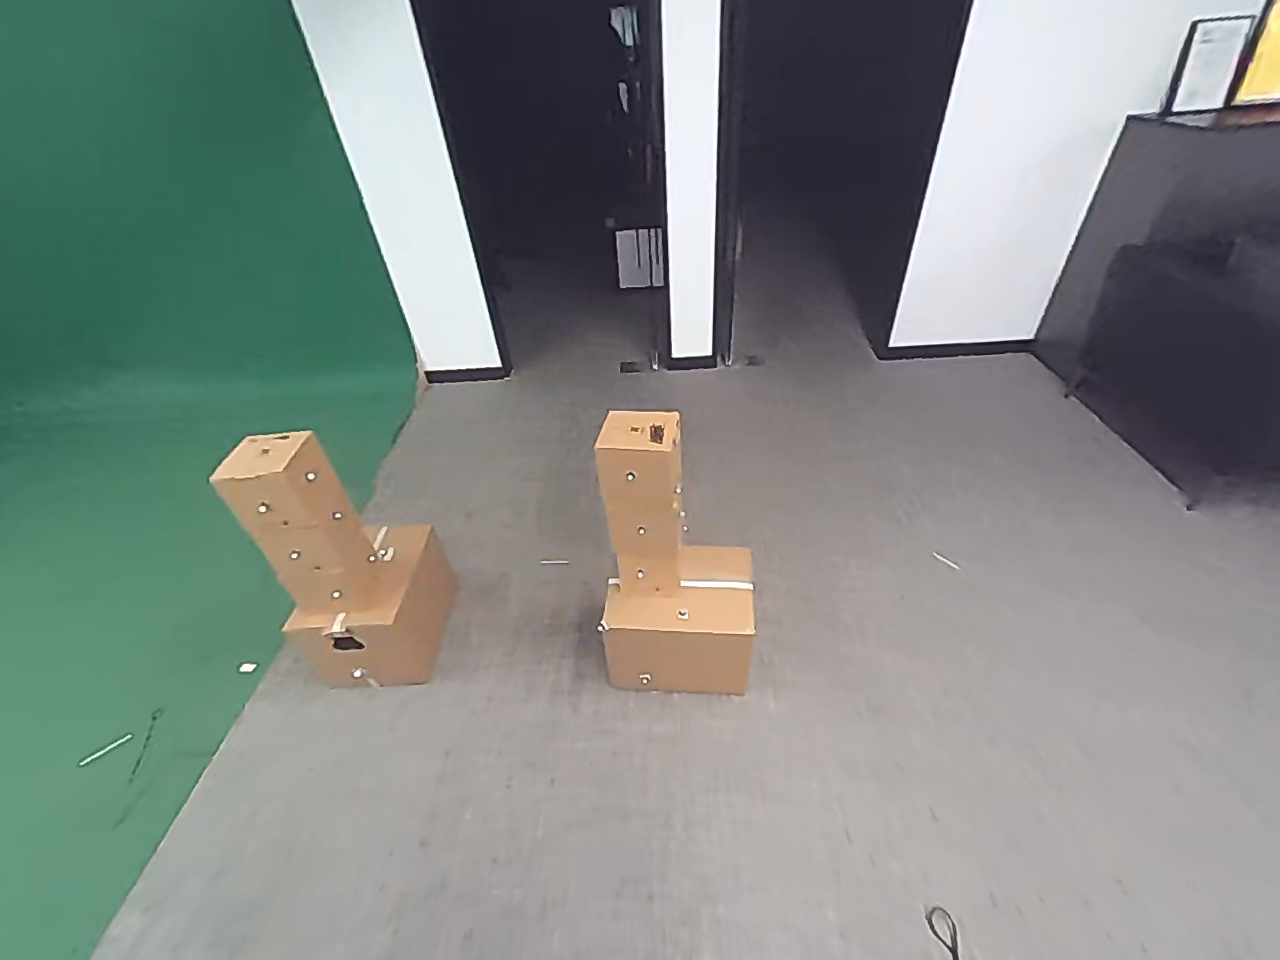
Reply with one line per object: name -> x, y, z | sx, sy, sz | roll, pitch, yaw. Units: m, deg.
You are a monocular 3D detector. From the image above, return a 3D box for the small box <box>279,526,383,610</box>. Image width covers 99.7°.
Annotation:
small box -> -0.859, 0.251, 1.528 | 0.179, 0.176, 0.168 | -4, 39, 2

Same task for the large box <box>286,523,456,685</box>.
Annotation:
large box -> -0.827, 0.393, 1.737 | 0.320, 0.320, 0.408 | -3, 39, 2

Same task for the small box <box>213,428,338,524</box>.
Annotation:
small box -> -0.877, -0.005, 1.324 | 0.168, 0.176, 0.179 | -5, 40, 0

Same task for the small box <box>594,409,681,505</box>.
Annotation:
small box -> 0.002, -0.054, 1.301 | 0.179, 0.176, 0.168 | 3, 39, 11

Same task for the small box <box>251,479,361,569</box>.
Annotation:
small box -> -0.868, 0.121, 1.430 | 0.168, 0.176, 0.179 | -6, 39, -2

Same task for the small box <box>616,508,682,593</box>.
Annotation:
small box -> 0.031, 0.199, 1.511 | 0.168, 0.176, 0.179 | 2, 39, 7
